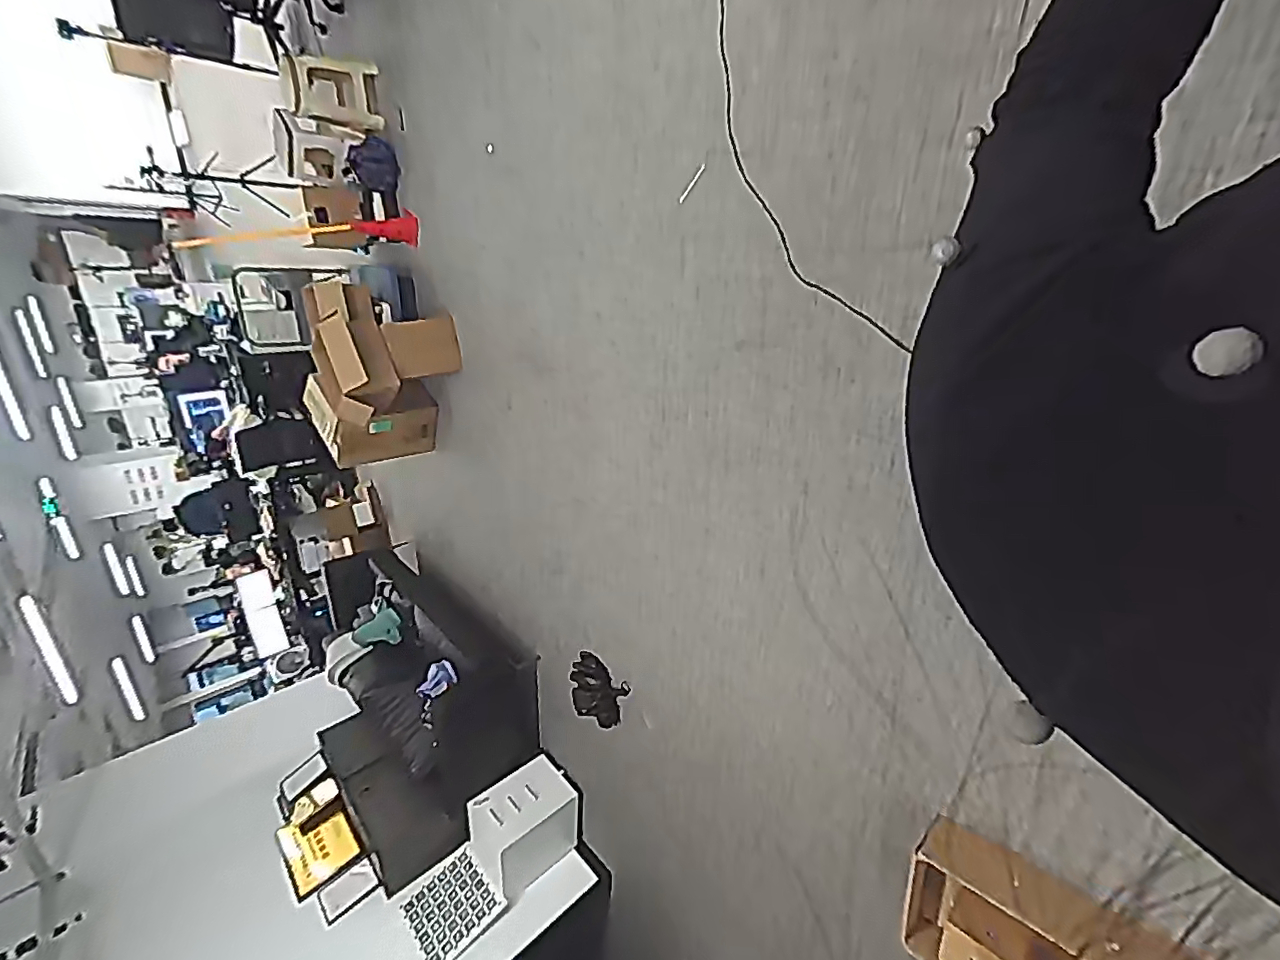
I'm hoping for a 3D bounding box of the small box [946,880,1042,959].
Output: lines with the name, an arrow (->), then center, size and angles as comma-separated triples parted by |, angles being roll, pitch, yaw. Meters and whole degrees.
small box -> 0.988, 1.278, 1.504 | 0.179, 0.176, 0.168 | 18, 117, 45
